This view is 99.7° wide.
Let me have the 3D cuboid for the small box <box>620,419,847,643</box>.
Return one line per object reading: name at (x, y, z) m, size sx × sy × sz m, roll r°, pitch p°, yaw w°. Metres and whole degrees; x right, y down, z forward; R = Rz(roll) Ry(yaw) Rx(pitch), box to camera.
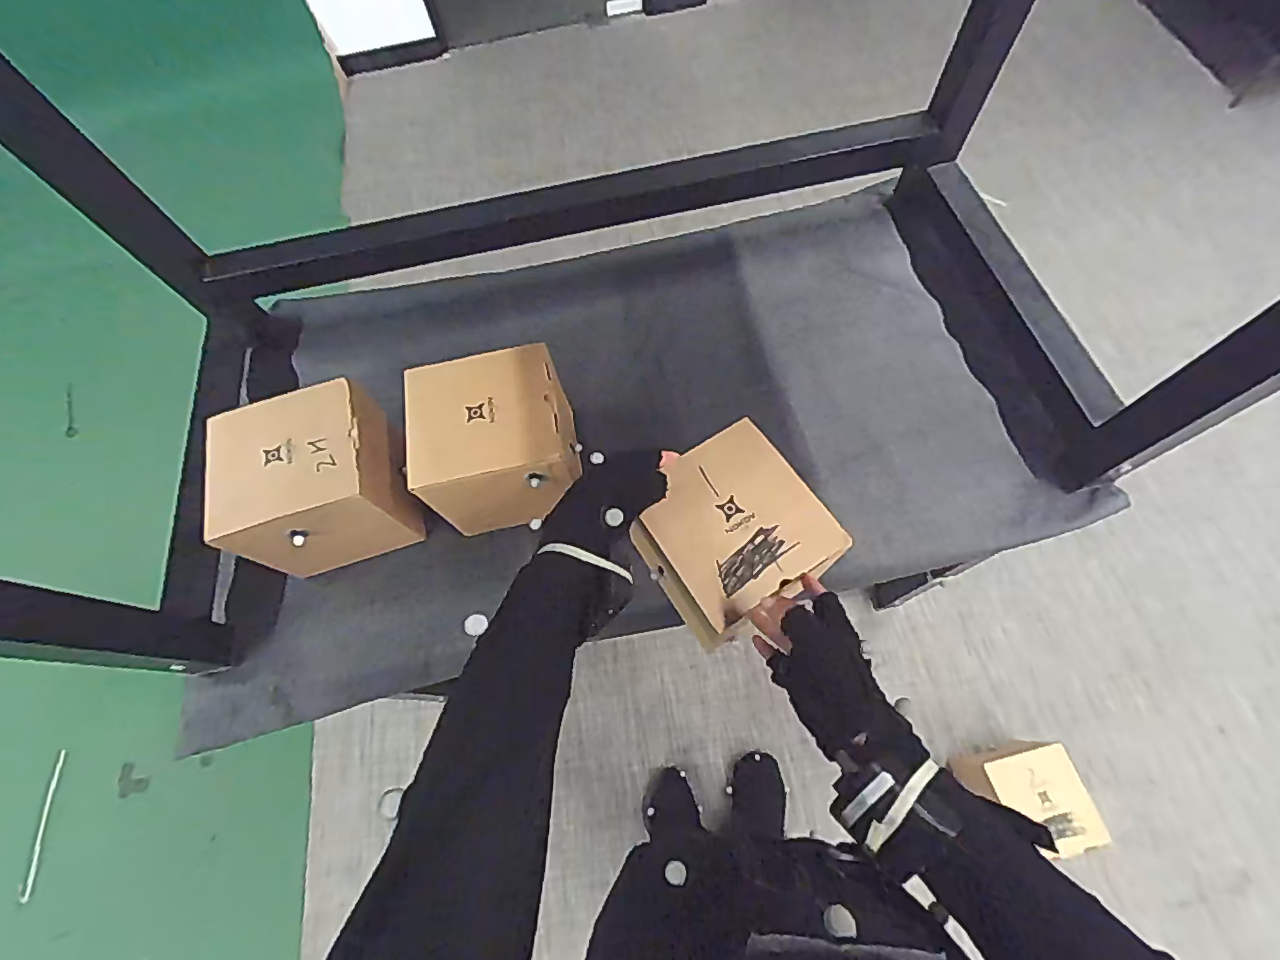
small box at (0.096, 0.069, 0.617) m, size 0.168 × 0.176 × 0.179 m, roll -30°, pitch 68°, yaw -10°
